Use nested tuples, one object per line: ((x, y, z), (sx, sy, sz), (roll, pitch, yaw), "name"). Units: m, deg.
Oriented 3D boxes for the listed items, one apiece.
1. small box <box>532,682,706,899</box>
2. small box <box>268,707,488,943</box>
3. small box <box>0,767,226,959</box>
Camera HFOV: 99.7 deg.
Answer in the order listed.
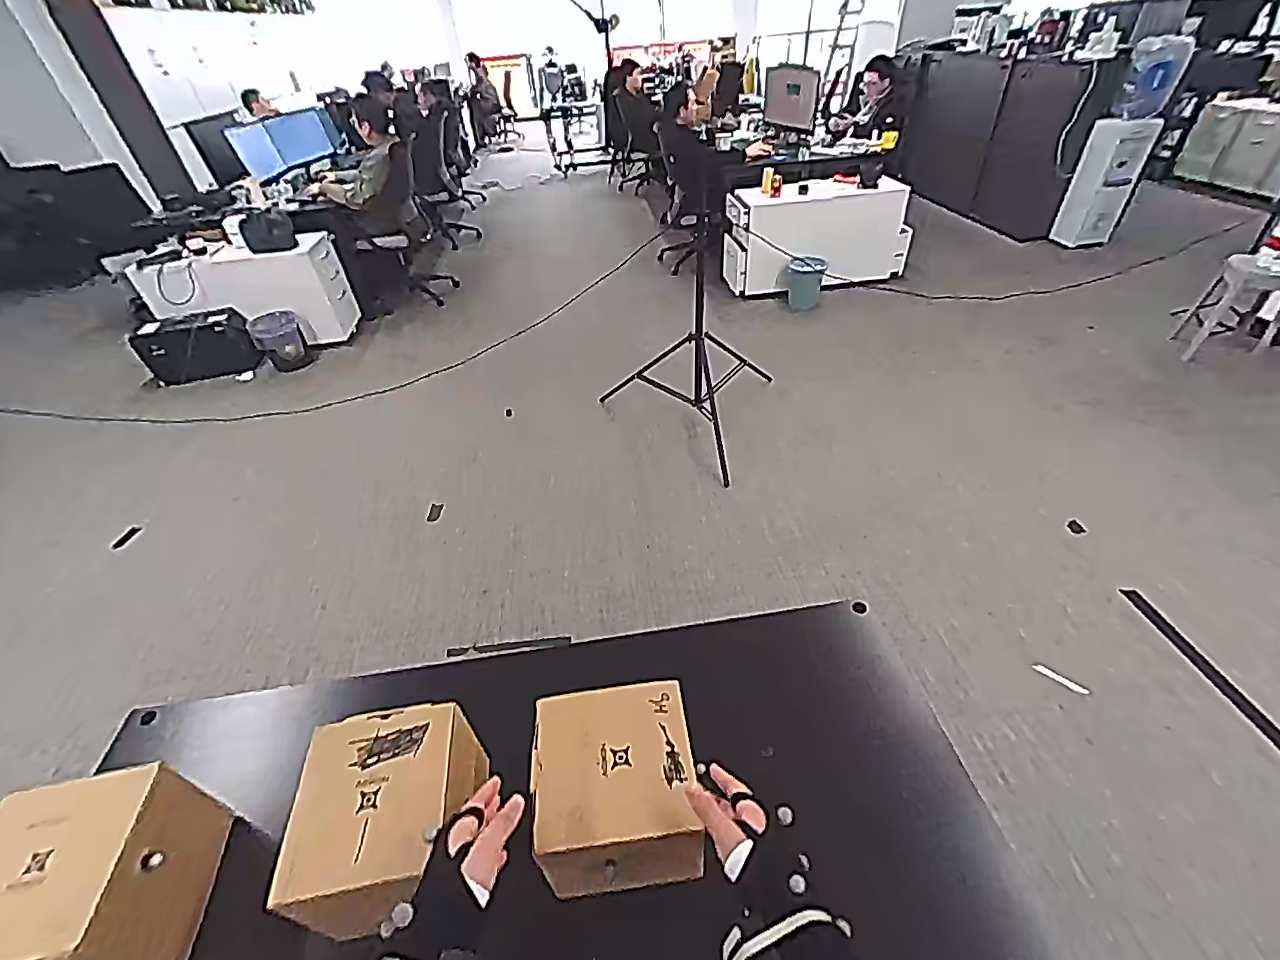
((-0.022, 0.368, 0.641), (0.179, 0.176, 0.168), (-7, 40, -2), "small box")
((-0.280, 0.398, 0.629), (0.168, 0.176, 0.179), (-9, 41, -5), "small box")
((-0.606, 0.454, 0.594), (0.168, 0.176, 0.179), (-9, 40, -8), "small box")
